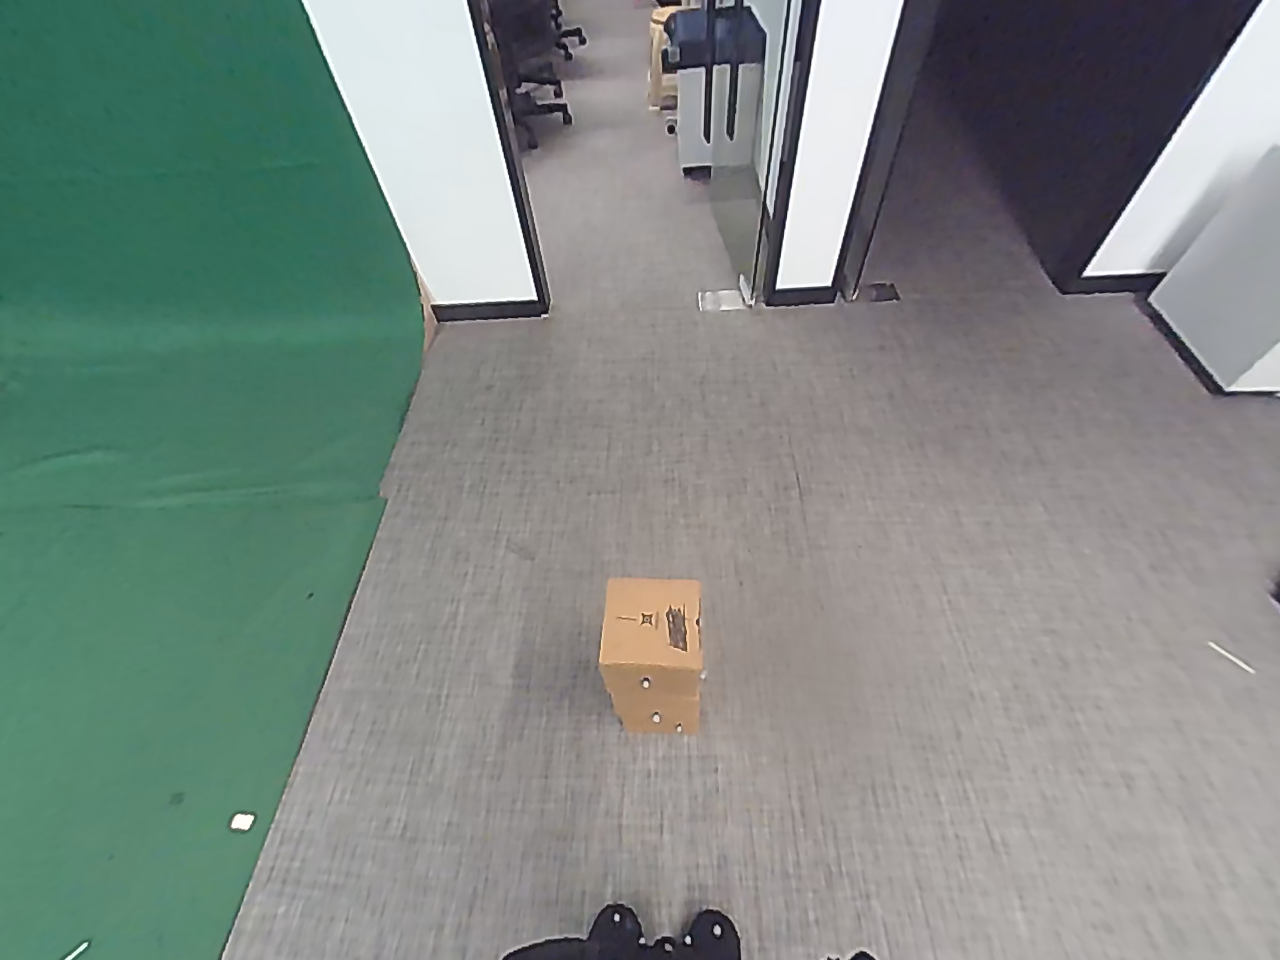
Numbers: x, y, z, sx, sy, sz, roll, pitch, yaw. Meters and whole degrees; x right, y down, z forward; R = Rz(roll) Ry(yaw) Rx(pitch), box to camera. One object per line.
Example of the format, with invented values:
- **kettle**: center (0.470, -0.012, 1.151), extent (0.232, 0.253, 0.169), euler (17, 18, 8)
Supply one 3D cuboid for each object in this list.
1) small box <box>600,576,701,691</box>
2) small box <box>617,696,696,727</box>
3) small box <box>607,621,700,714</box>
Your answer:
- **small box**: center (0.021, 0.297, 1.035), extent (0.179, 0.176, 0.168), euler (0, 54, 2)
- **small box**: center (0.044, 0.488, 1.301), extent (0.179, 0.176, 0.168), euler (-1, 53, 5)
- **small box**: center (0.033, 0.396, 1.166), extent (0.179, 0.176, 0.168), euler (3, 54, 6)
